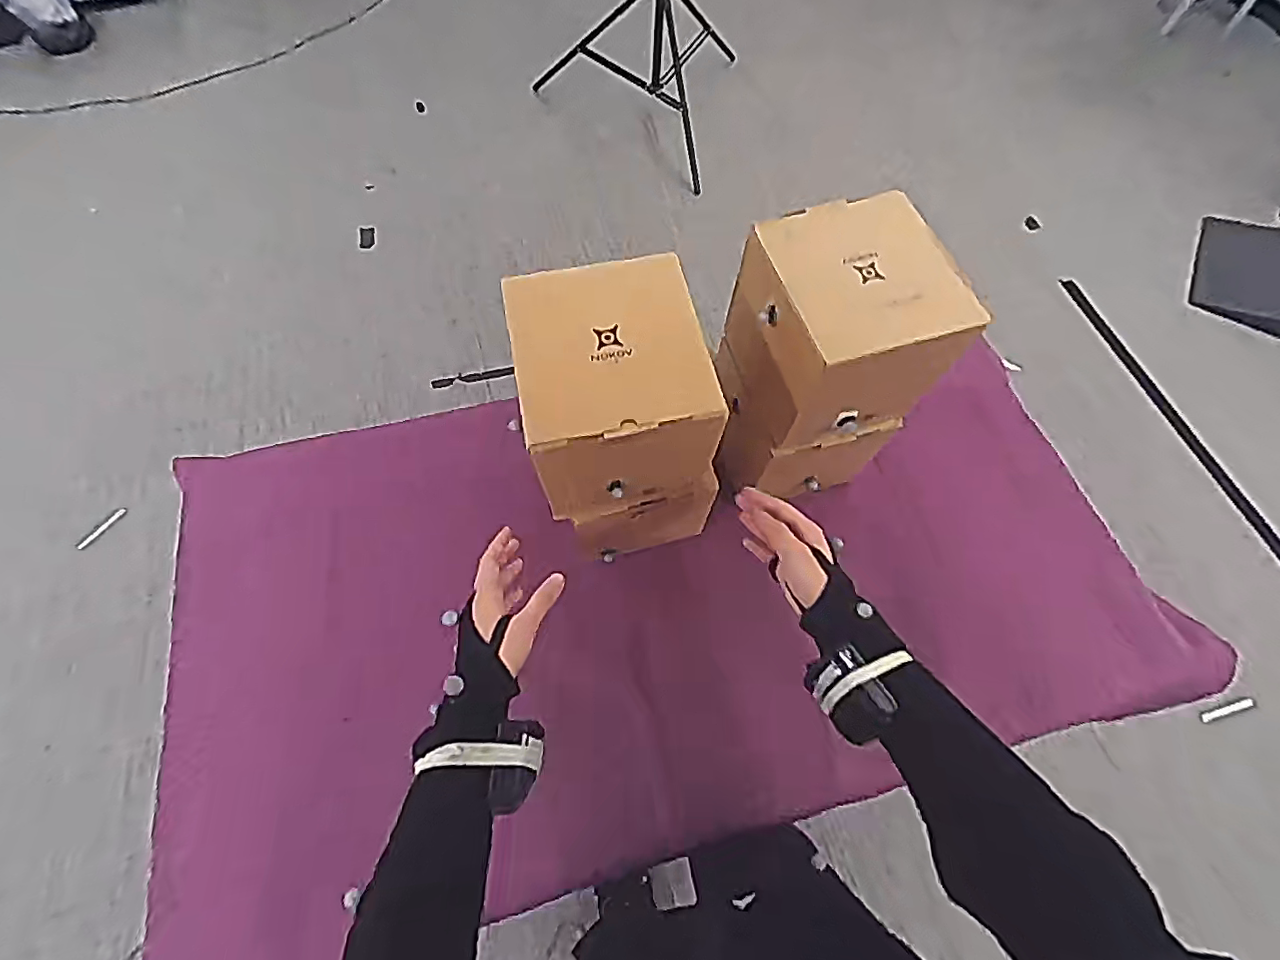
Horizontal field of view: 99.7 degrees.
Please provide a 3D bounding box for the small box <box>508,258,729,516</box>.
[{"bbox_3d":[-0.027,-0.084,0.536,0.168,0.176,0.179,-11,68,-7],"label":"small box"}]

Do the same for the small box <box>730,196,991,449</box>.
[{"bbox_3d":[0.210,-0.159,0.575,0.168,0.176,0.179,-16,69,-8],"label":"small box"}]

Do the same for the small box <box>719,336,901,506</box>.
[{"bbox_3d":[0.202,-0.087,0.721,0.168,0.176,0.179,-14,68,-6],"label":"small box"}]

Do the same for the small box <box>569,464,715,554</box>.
[{"bbox_3d":[-0.016,-0.016,0.684,0.168,0.176,0.179,-13,67,-8],"label":"small box"}]
